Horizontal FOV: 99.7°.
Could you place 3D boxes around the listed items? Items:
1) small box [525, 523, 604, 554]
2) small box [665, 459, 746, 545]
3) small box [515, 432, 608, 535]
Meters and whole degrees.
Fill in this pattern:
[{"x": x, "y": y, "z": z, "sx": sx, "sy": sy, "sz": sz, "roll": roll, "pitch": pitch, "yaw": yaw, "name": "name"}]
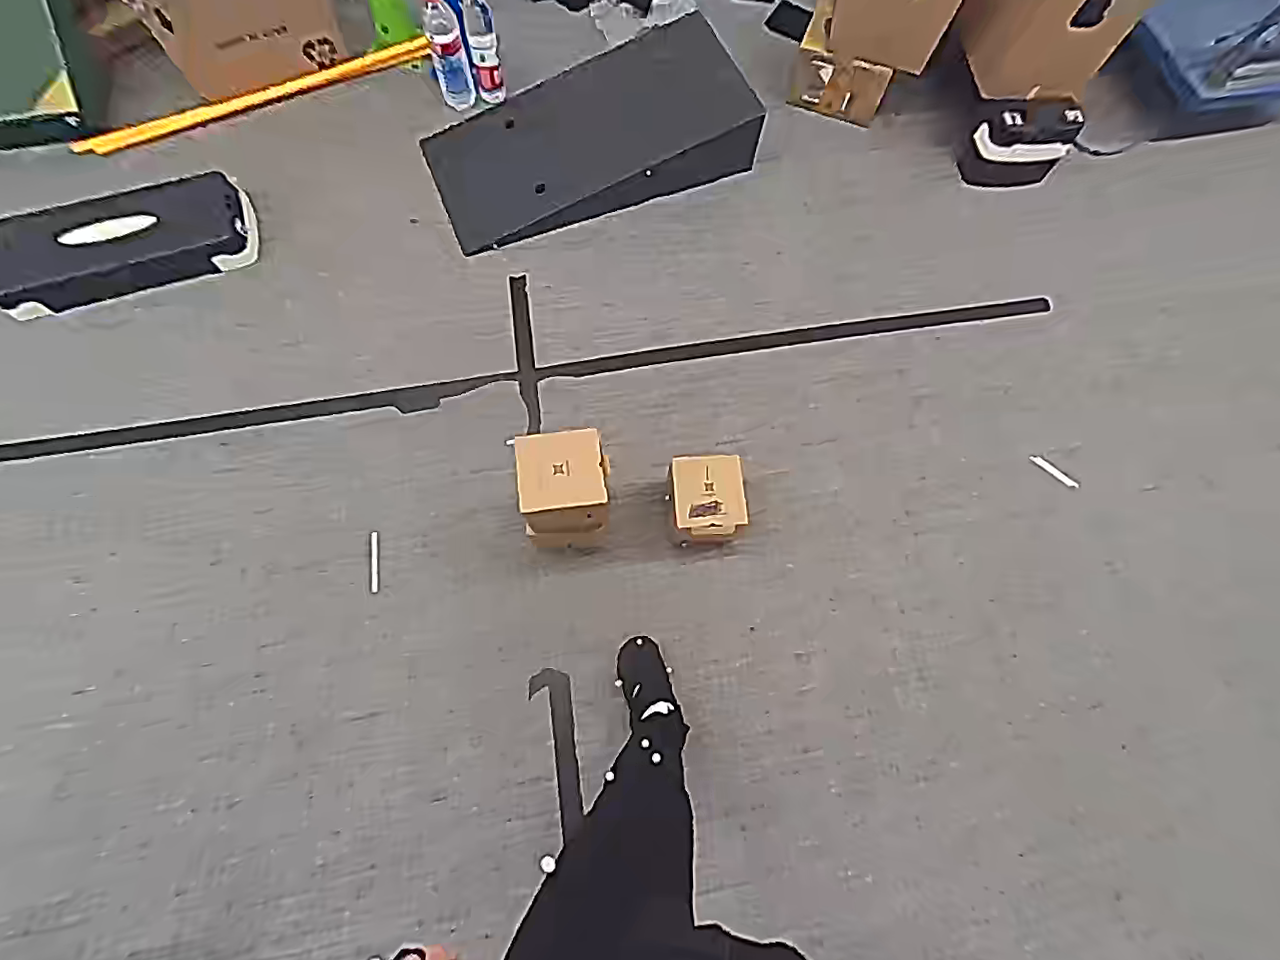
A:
[{"x": -0.177, "y": 0.079, "z": 1.301, "sx": 0.179, "sy": 0.176, "sz": 0.168, "roll": -2, "pitch": 71, "yaw": -4, "name": "small box"}, {"x": 0.154, "y": 0.060, "z": 1.325, "sx": 0.168, "sy": 0.176, "sz": 0.179, "roll": -2, "pitch": 70, "yaw": -4, "name": "small box"}, {"x": -0.162, "y": 0.013, "z": 1.152, "sx": 0.179, "sy": 0.176, "sz": 0.168, "roll": -7, "pitch": 71, "yaw": -4, "name": "small box"}]
